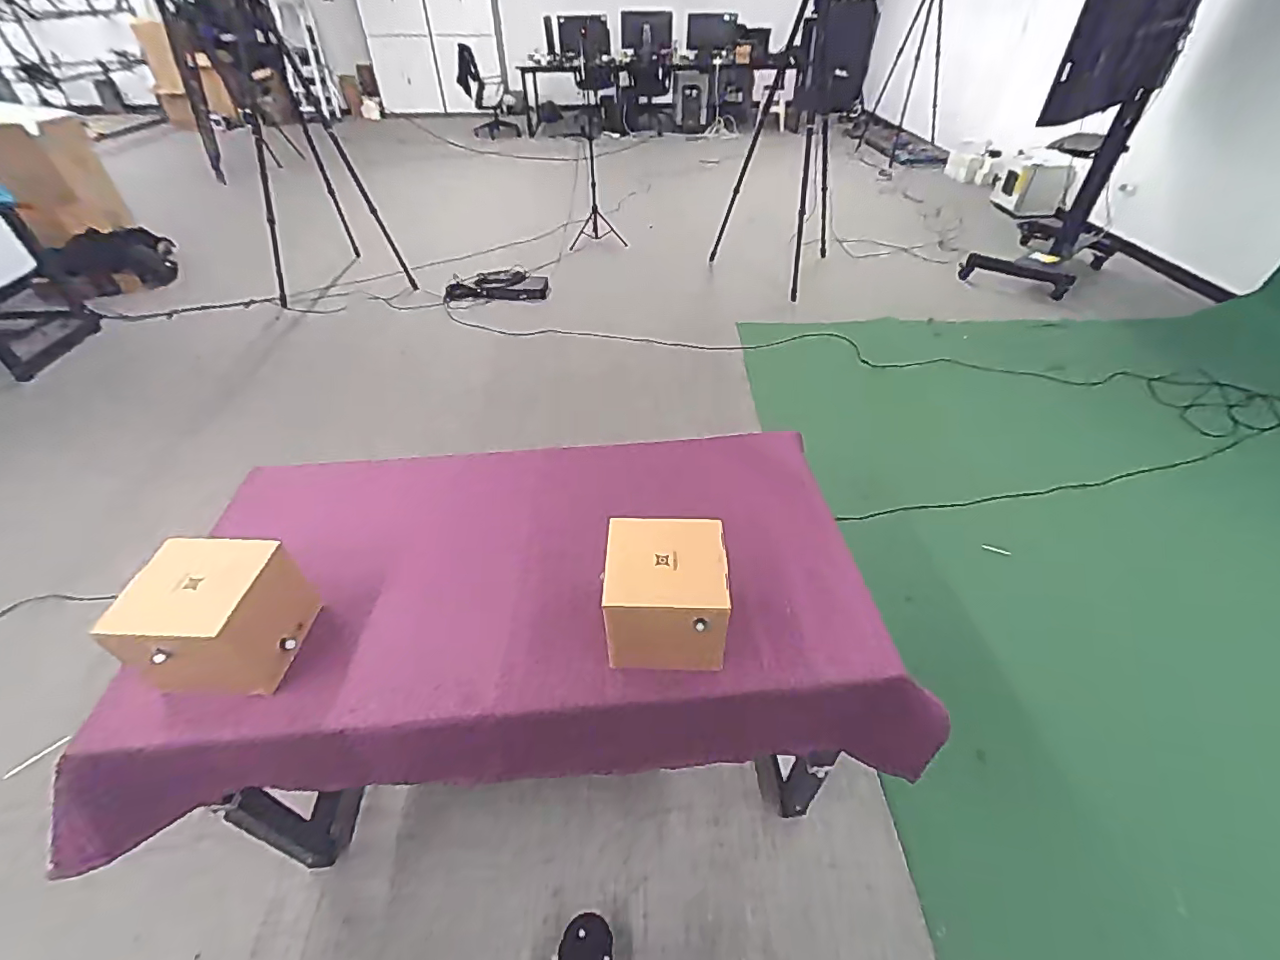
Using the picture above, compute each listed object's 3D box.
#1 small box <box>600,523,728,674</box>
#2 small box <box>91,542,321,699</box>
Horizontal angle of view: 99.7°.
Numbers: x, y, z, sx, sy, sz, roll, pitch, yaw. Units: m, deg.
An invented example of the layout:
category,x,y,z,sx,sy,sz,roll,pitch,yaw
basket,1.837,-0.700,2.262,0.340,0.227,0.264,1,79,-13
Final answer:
category,x,y,z,sx,sy,sz,roll,pitch,yaw
small box,0.036,0.184,0.835,0.179,0.176,0.168,1,42,2
small box,-0.628,0.212,0.813,0.179,0.176,0.168,2,43,2
